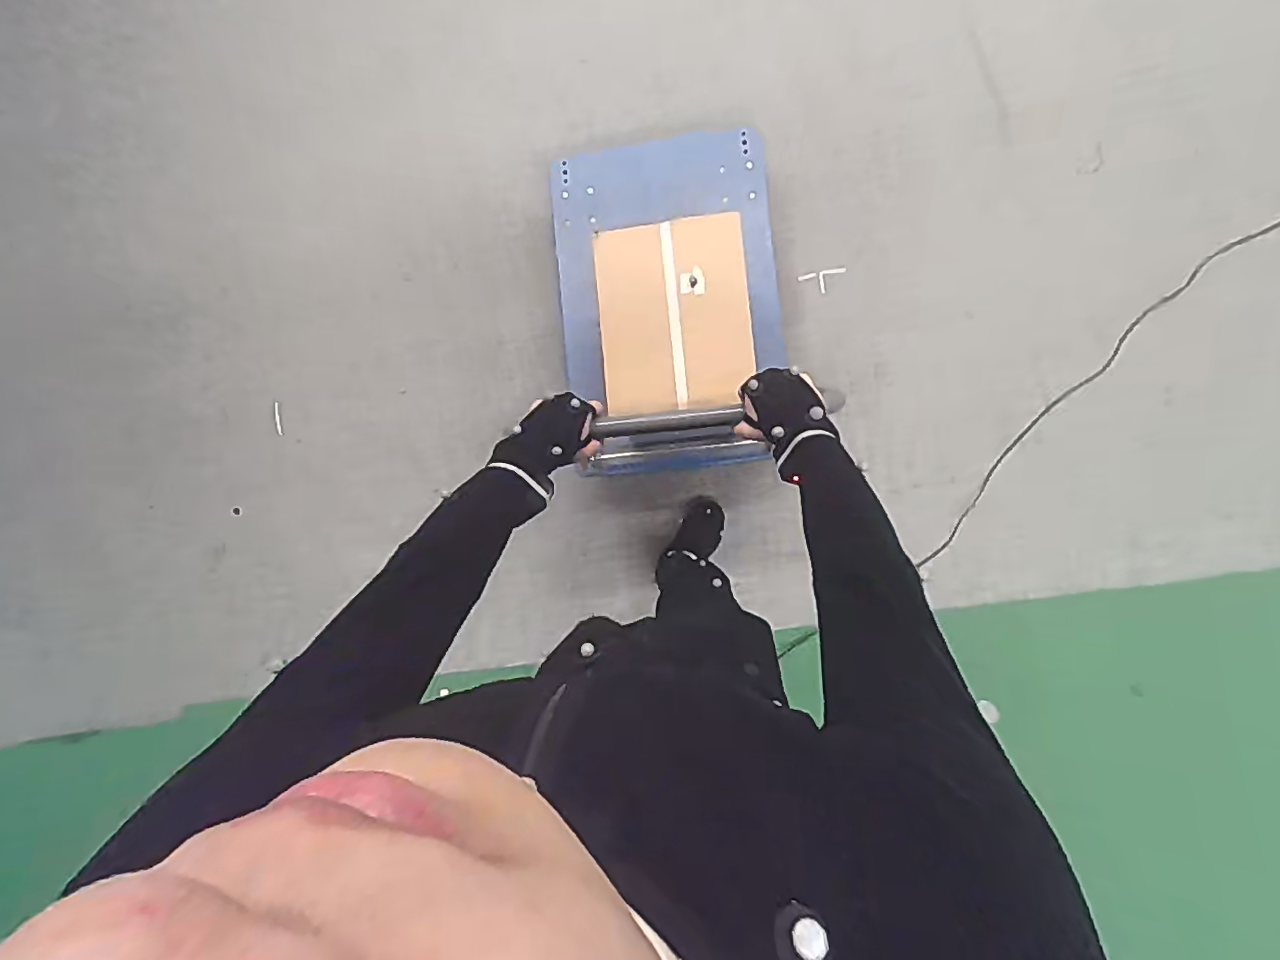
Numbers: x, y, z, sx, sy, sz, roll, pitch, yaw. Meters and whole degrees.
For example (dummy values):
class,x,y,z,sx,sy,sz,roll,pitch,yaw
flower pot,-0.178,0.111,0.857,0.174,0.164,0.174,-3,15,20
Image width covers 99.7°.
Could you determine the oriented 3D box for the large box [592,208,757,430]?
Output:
class,x,y,z,sx,sy,sz,roll,pitch,yaw
large box,0.087,-0.348,1.279,0.320,0.320,0.408,-6,88,6
